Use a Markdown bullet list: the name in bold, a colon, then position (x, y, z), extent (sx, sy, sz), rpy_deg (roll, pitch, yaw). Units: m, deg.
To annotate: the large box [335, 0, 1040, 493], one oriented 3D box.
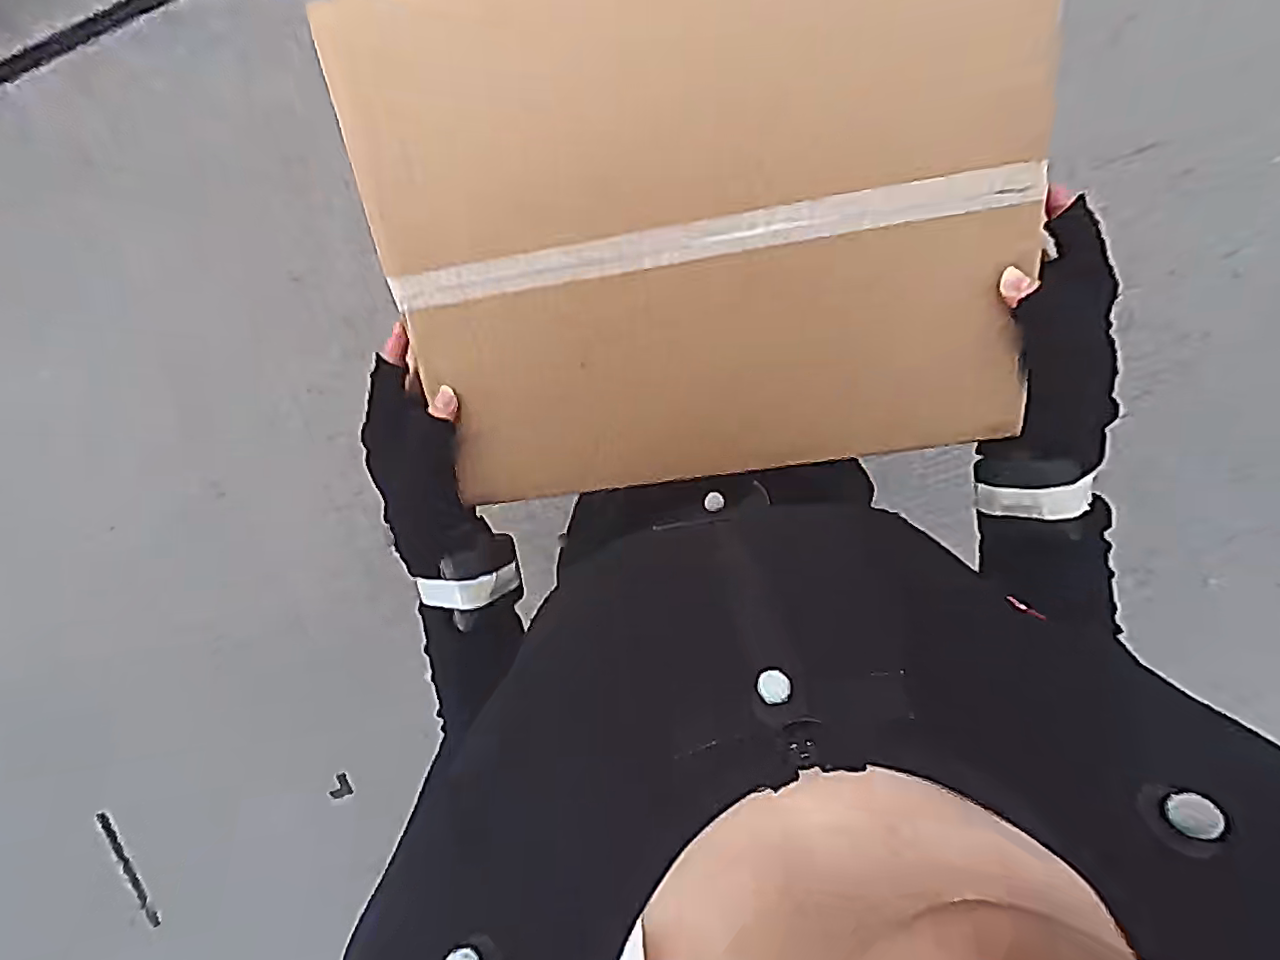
- **large box**: position (0.043, -0.211, 0.486), extent (0.408, 0.320, 0.320), rpy_deg (-7, 112, 5)
